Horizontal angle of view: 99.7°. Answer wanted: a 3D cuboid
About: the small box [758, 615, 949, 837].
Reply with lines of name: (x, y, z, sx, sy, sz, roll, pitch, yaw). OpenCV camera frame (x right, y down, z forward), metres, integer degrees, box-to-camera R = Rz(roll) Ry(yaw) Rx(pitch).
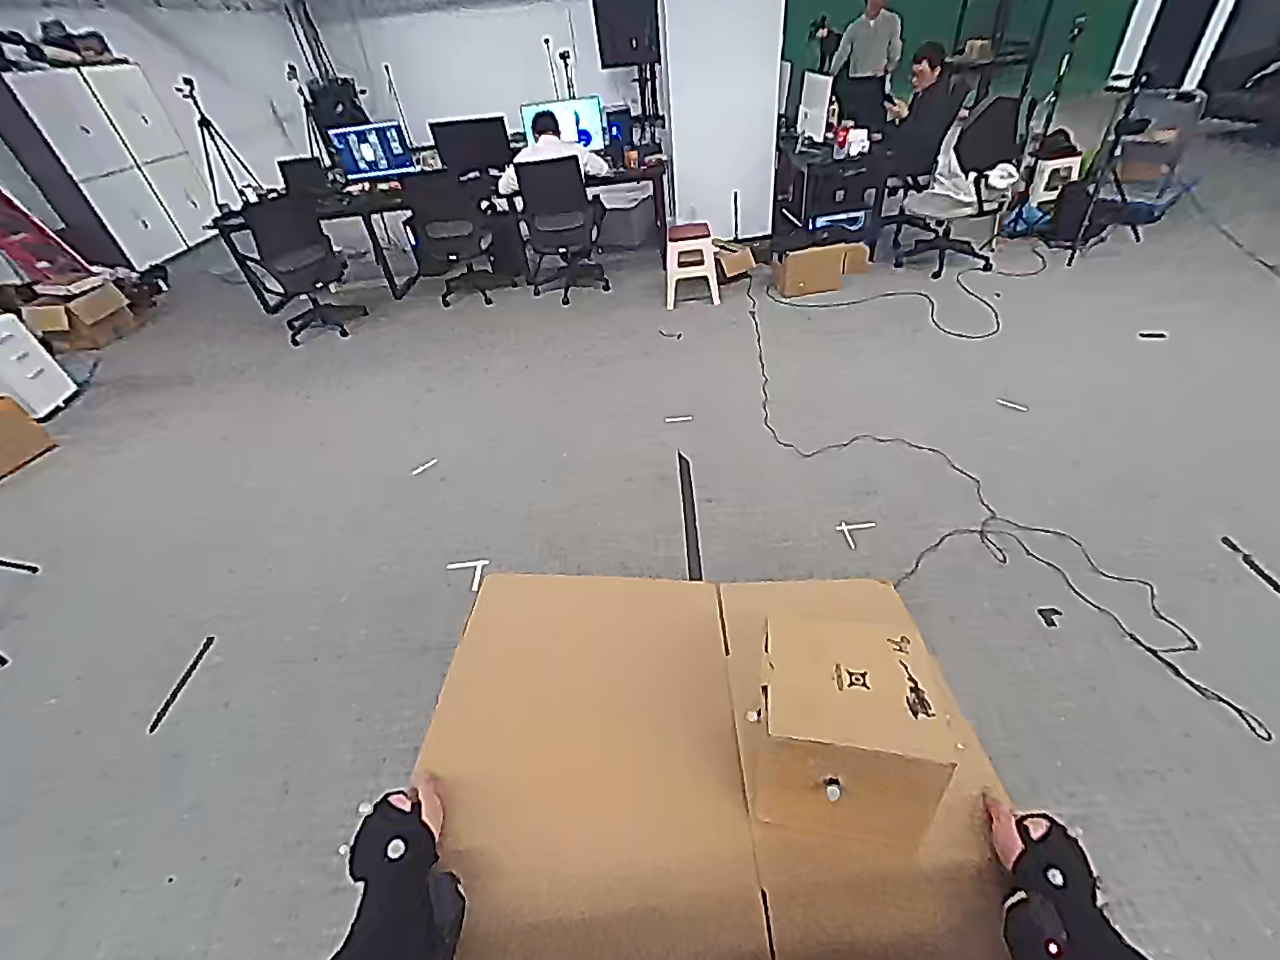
small box: (0.230, 0.283, 0.631, 0.179, 0.176, 0.168, 3, 34, 12)
